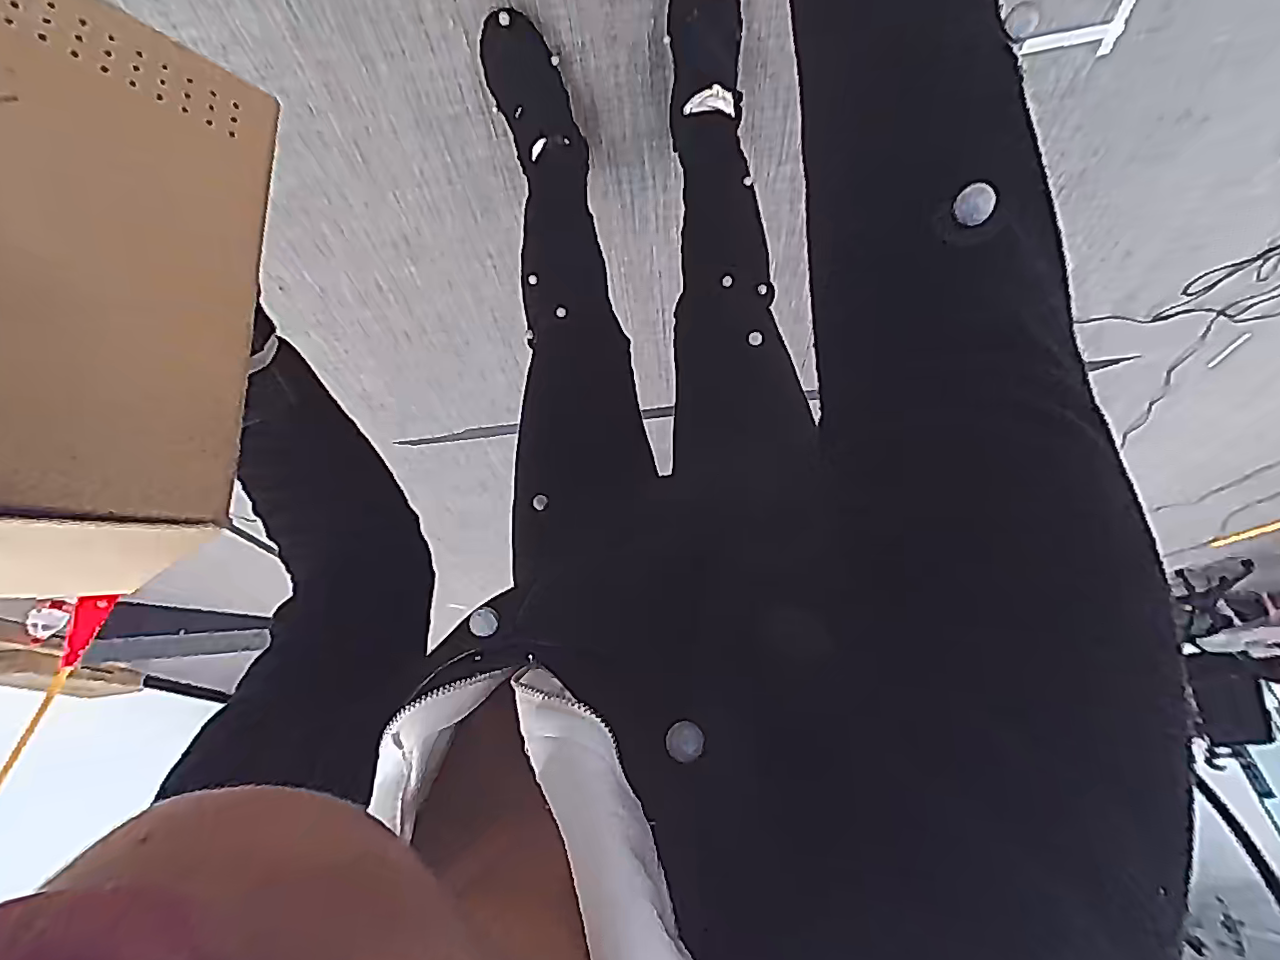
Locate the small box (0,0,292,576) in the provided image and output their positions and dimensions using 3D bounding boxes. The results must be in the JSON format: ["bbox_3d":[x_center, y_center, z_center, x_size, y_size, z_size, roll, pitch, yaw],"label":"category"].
[{"bbox_3d":[-0.242,-0.064,0.181,0.168,0.176,0.179,-19,159,37],"label":"small box"}]
